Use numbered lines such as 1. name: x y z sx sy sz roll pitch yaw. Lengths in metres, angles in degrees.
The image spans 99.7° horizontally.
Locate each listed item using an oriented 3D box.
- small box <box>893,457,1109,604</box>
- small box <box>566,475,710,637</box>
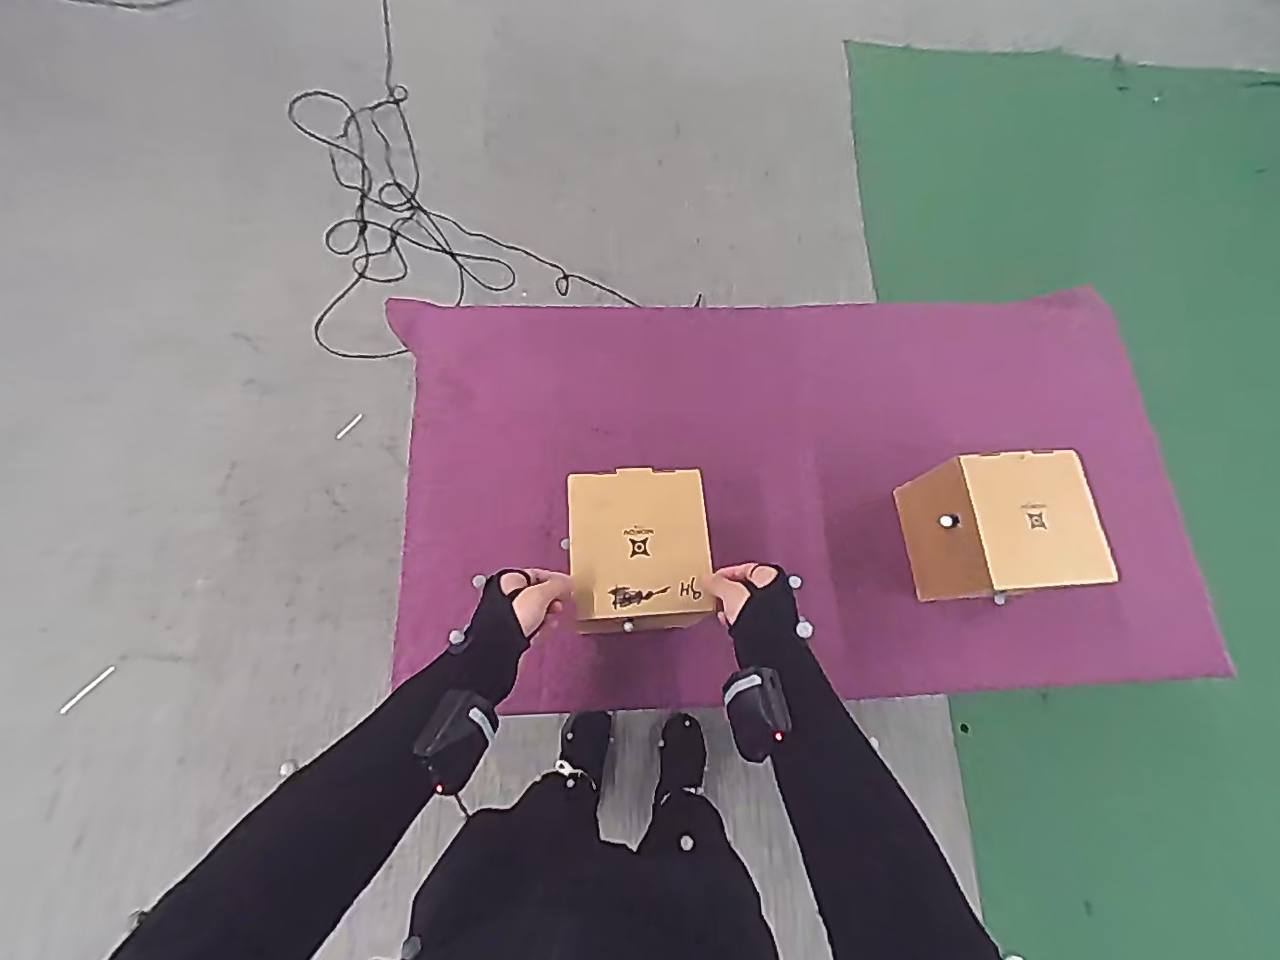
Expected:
1. small box: 0.485 0.079 0.759 0.168 0.176 0.179 -3 72 -4
2. small box: -0.012 0.105 0.710 0.168 0.176 0.179 -2 69 -5
